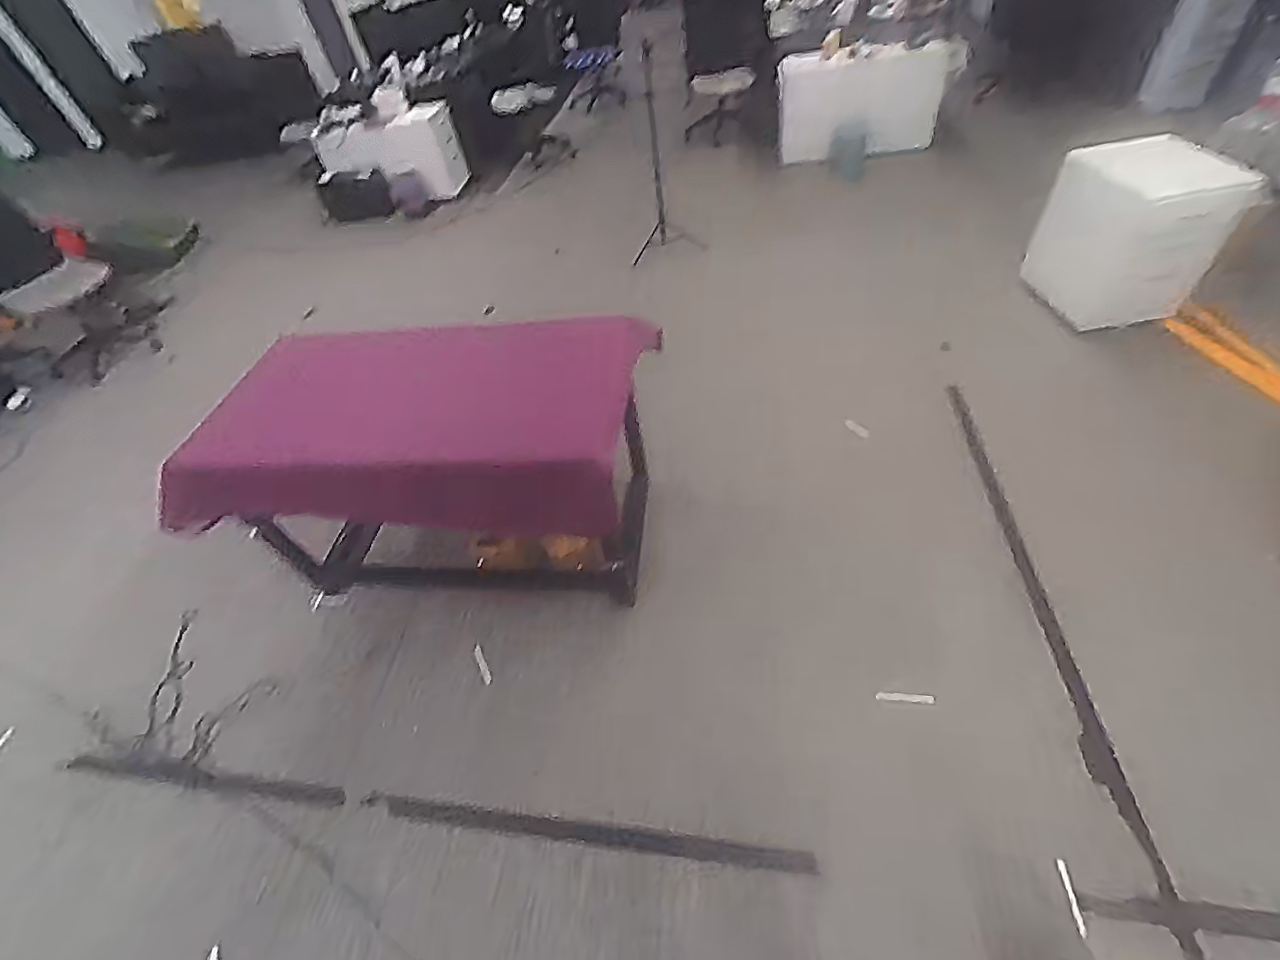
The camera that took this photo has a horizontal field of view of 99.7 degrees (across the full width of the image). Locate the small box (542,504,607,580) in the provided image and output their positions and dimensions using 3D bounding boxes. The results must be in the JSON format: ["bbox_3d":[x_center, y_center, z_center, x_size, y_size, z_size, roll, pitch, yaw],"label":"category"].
[{"bbox_3d":[-0.231,0.221,1.917,0.168,0.176,0.179,-23,48,-8],"label":"small box"}]
